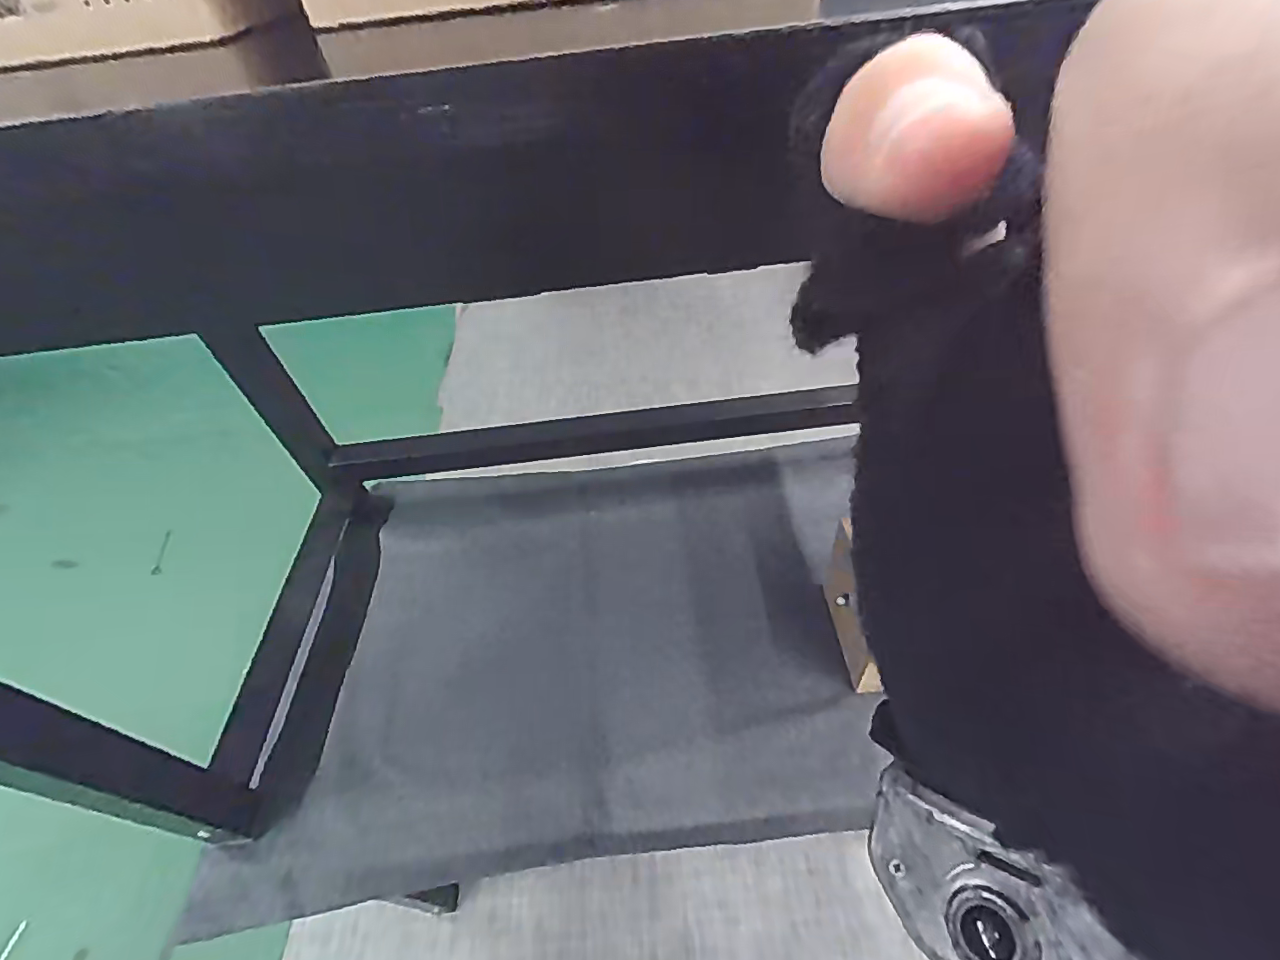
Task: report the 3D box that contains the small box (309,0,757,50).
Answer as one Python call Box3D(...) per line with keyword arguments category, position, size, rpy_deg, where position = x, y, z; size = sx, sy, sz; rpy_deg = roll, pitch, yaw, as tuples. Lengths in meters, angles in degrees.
Box3D(category="small box", position=(-0.038, -0.269, 0.183), size=(0.179, 0.176, 0.168), rpy_deg=(-4, 47, 3))
